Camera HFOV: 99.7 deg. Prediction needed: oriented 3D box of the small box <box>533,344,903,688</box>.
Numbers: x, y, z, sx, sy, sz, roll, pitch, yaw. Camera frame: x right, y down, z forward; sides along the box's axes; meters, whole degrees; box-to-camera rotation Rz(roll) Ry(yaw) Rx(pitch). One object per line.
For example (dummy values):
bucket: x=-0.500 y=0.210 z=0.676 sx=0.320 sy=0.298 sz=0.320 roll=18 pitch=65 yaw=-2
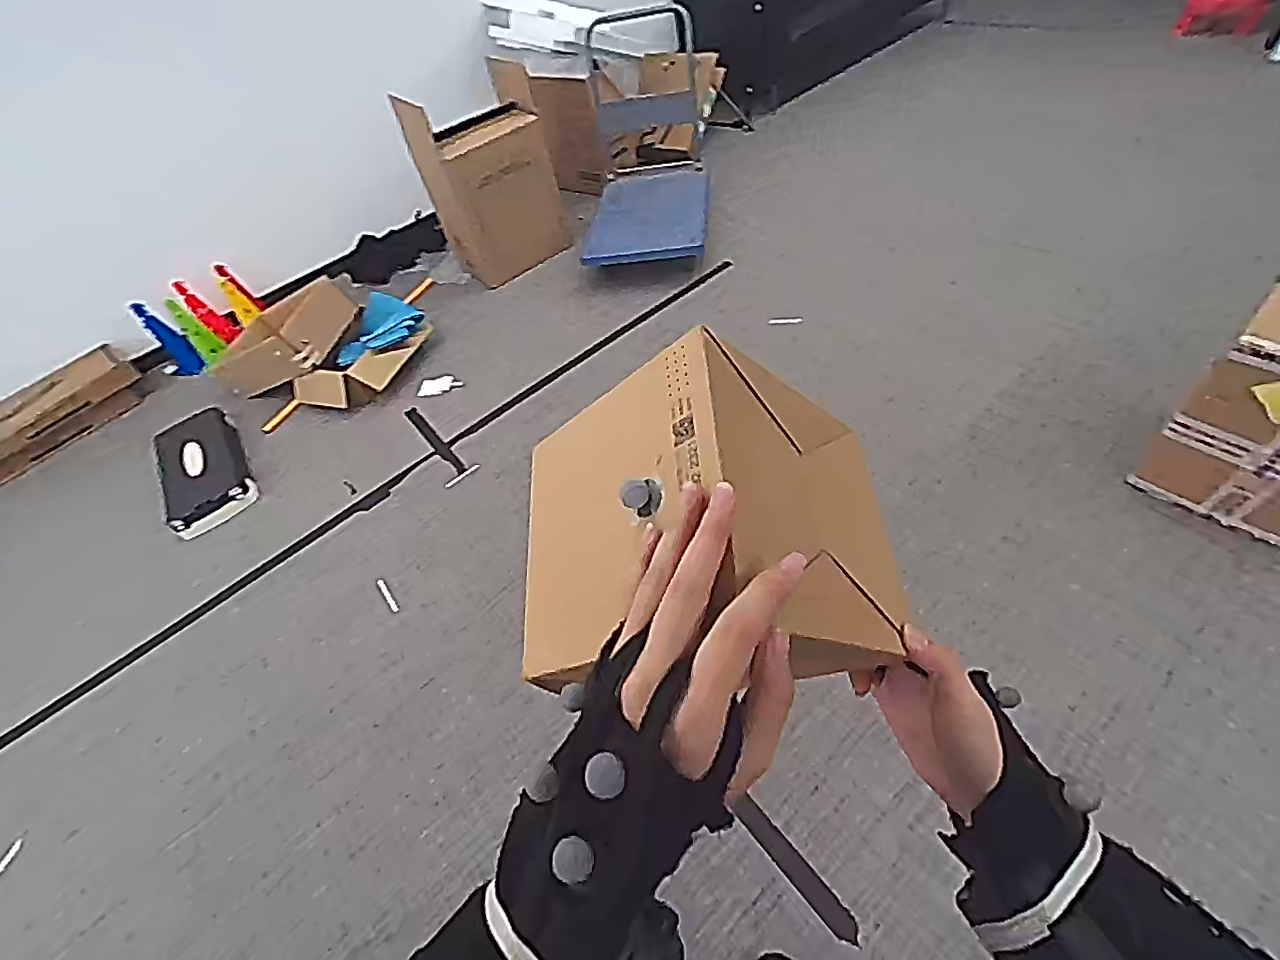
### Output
small box: x=0.049 y=0.043 z=0.367 sx=0.176 sy=0.179 sz=0.168 roll=-29 pitch=52 yaw=39
